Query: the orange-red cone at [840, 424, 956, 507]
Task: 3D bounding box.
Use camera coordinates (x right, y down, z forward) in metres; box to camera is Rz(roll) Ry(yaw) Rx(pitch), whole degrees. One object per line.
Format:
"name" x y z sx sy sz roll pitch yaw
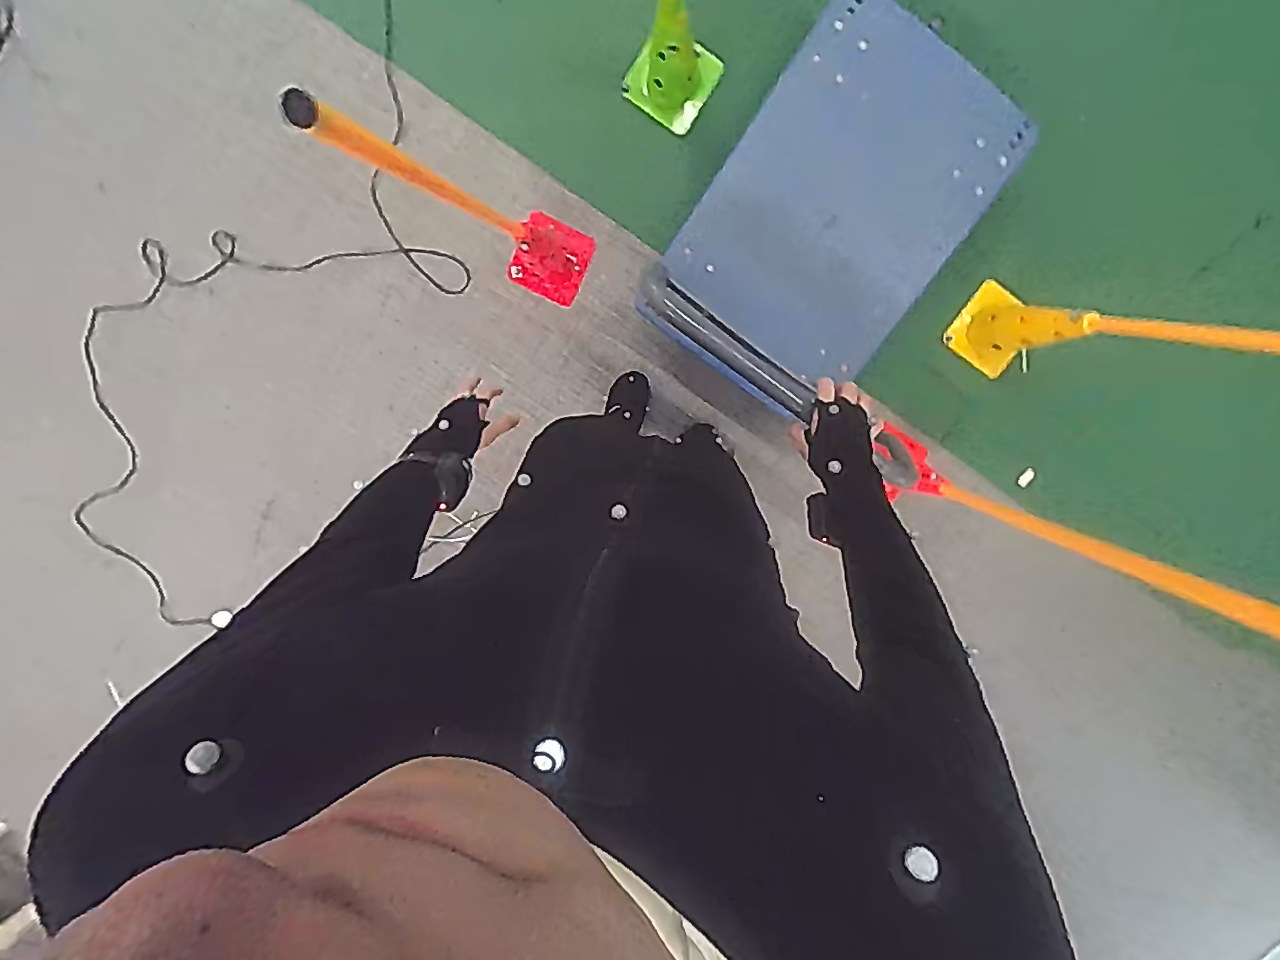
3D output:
"orange-red cone" 0.708 -0.007 1.410 0.198 0.360 0.199 33 100 -6

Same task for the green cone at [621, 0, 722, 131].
"green cone" 0.074 -0.993 1.206 0.200 0.368 0.202 33 100 -5
